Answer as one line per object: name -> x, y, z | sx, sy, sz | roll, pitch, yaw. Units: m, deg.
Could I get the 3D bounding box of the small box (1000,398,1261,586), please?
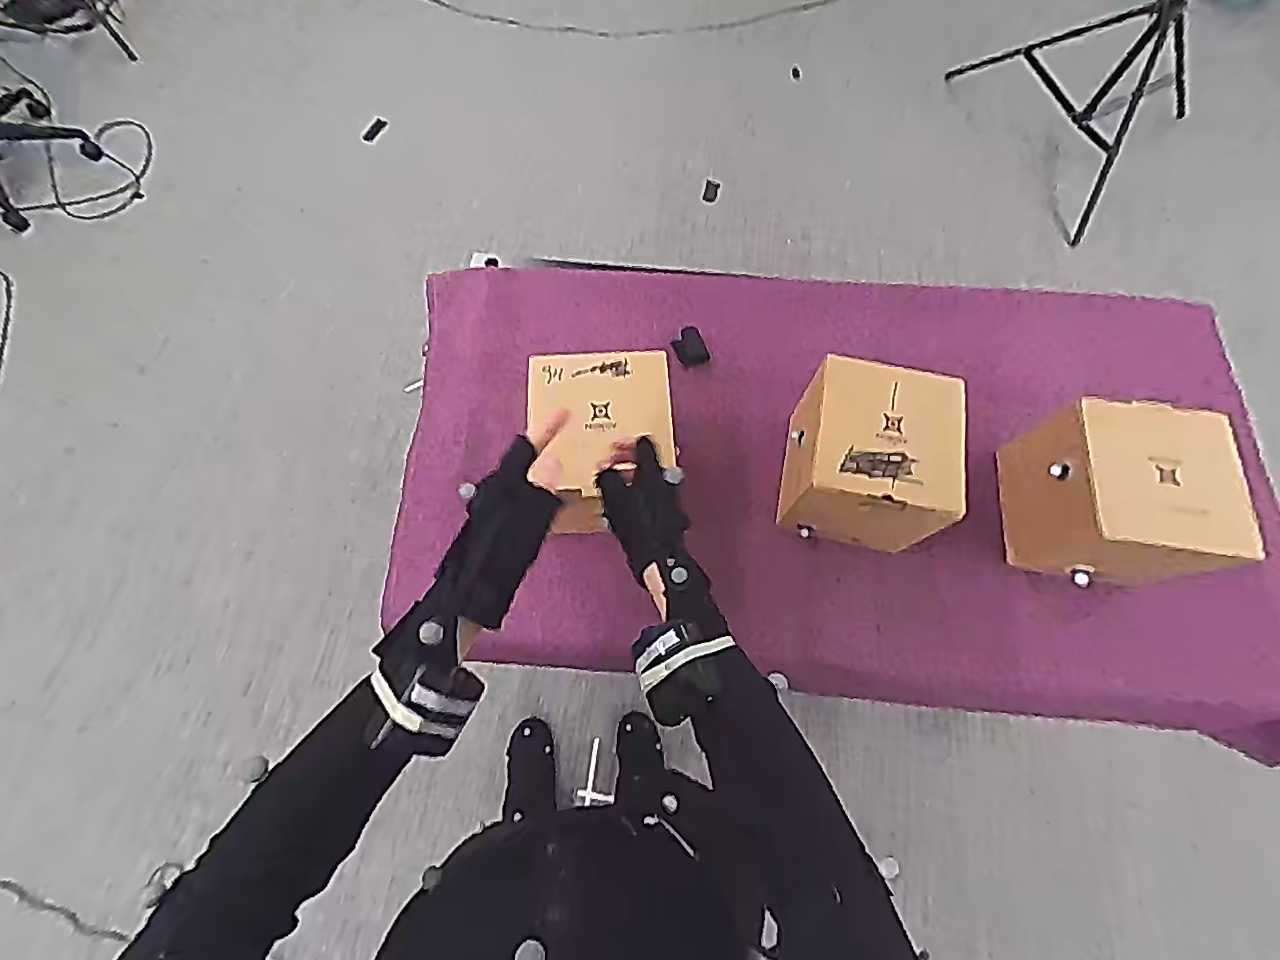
small box -> 0.584, 0.022, 0.677 | 0.168, 0.176, 0.179 | 7, 69, 4

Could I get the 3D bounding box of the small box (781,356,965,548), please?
small box -> 0.286, -0.026, 0.691 | 0.168, 0.176, 0.179 | 12, 68, 4

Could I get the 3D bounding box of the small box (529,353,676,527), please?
small box -> -0.043, -0.041, 0.693 | 0.168, 0.176, 0.179 | -2, 69, -2
